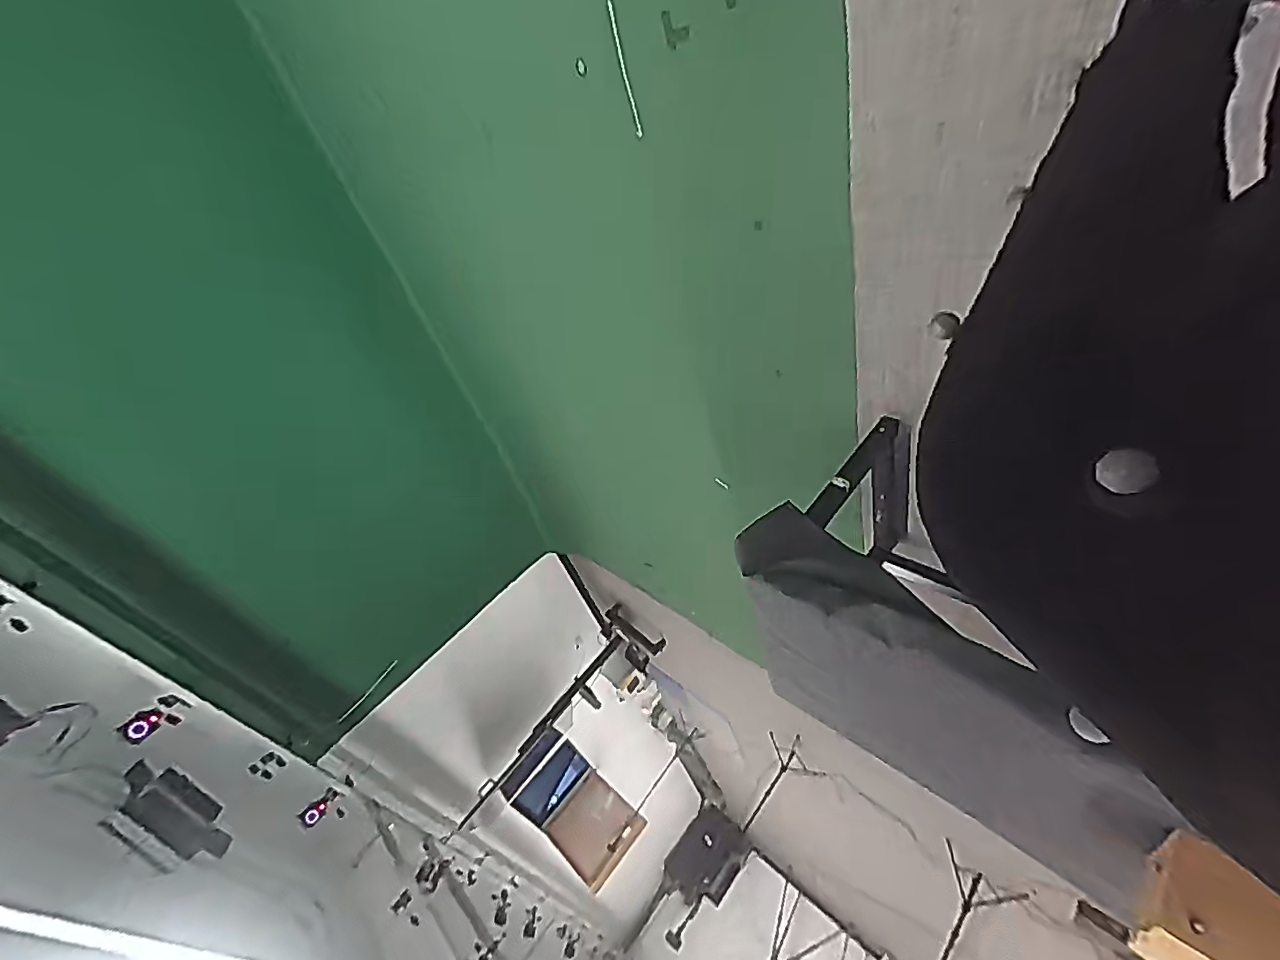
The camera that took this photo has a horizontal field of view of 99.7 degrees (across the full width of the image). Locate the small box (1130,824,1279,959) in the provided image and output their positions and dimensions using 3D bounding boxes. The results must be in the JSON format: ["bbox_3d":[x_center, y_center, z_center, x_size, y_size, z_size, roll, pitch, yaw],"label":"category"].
[{"bbox_3d":[0.915,0.684,0.836,0.179,0.176,0.168,24,147,42],"label":"small box"}]
